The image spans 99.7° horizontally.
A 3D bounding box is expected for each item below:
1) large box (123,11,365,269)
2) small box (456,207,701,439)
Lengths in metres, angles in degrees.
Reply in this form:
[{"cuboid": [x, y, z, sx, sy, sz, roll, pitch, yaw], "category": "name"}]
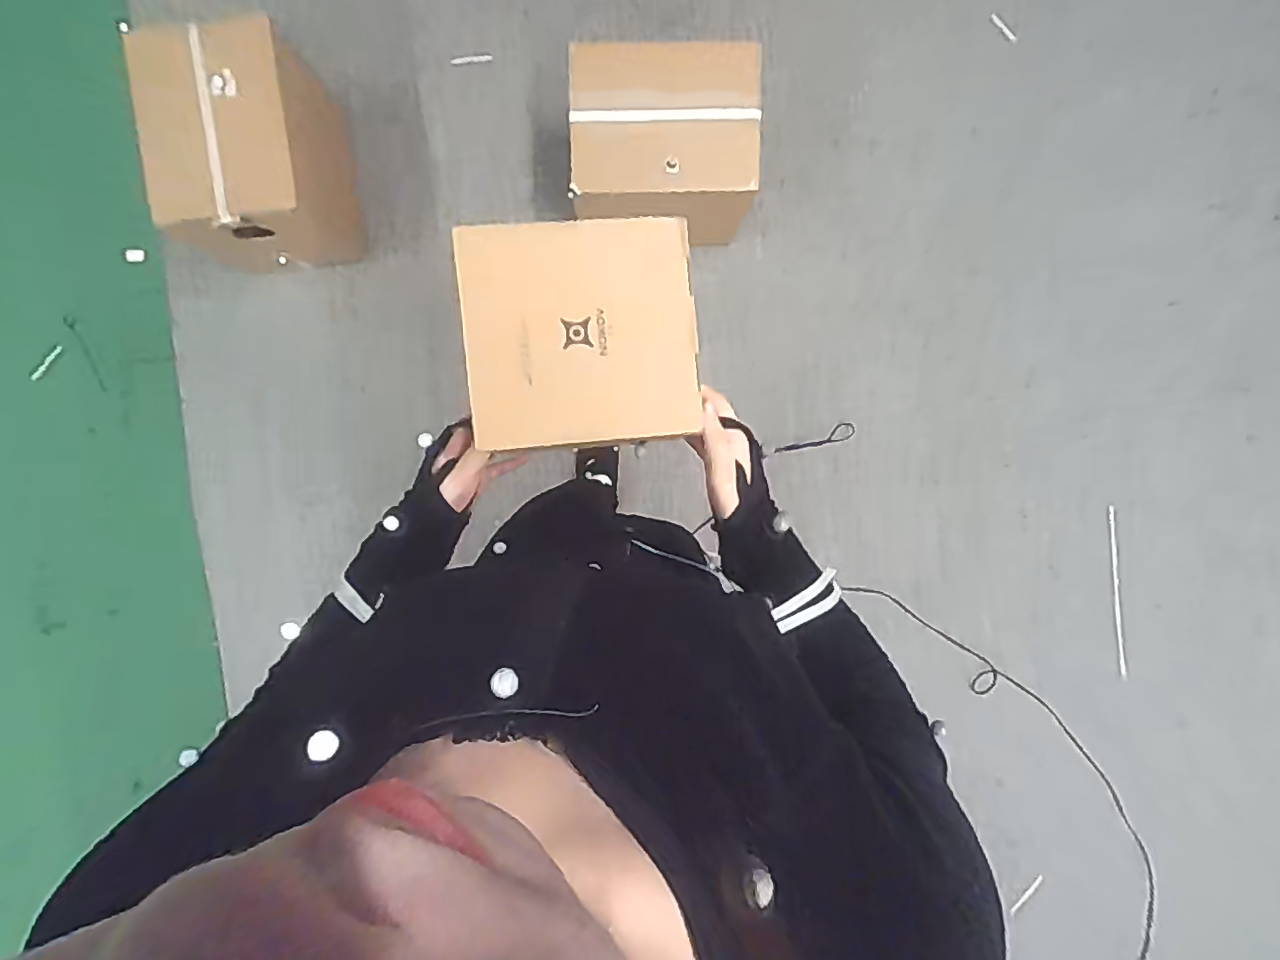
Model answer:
[{"cuboid": [-0.902, -0.767, 1.281, 0.320, 0.320, 0.408, -7, 92, 0], "category": "large box"}, {"cuboid": [-0.052, -0.124, 0.483, 0.179, 0.176, 0.168, -4, 93, -6], "category": "small box"}]
